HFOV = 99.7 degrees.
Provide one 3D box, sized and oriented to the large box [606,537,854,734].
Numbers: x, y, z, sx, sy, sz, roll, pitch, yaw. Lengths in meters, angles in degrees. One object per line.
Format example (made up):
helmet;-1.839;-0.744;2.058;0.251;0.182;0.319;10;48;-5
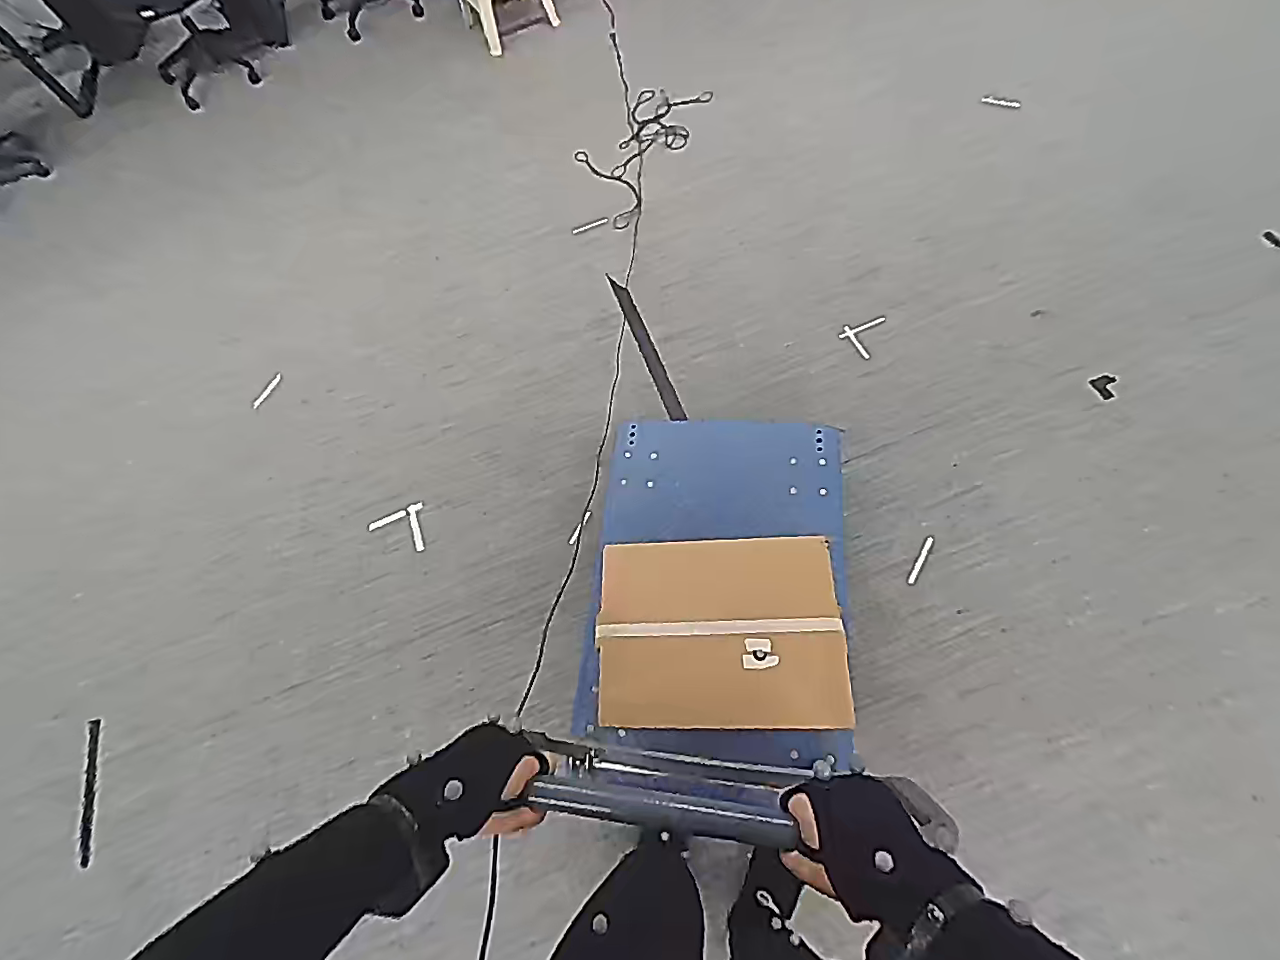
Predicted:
large box;0.155;0.321;1.063;0.408;0.320;0.320;-4;65;6
